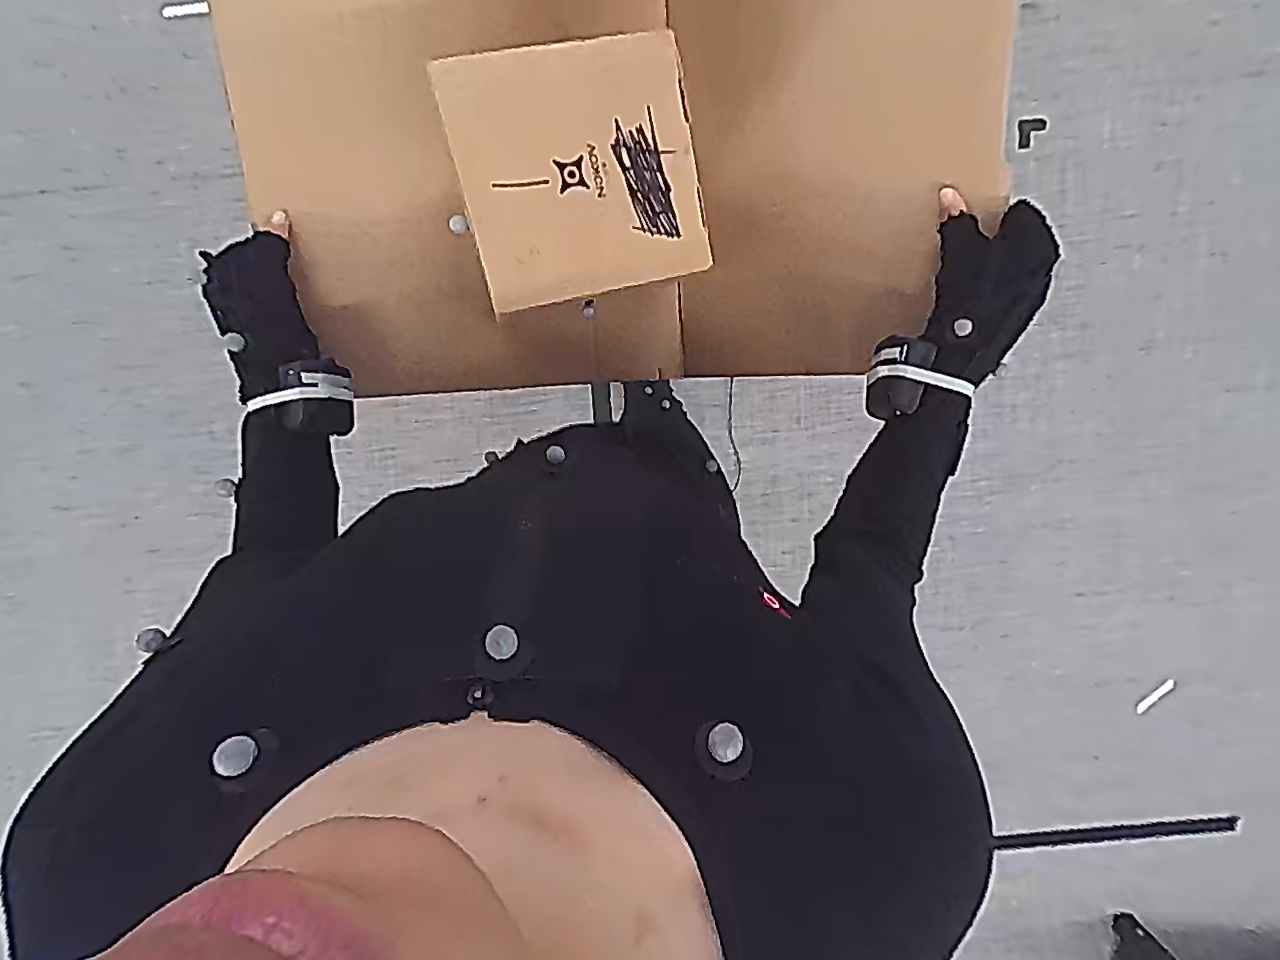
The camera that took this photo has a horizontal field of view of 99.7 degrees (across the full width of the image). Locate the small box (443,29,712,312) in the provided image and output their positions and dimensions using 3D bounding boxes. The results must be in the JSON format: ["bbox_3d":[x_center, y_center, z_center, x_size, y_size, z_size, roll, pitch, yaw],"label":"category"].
[{"bbox_3d":[-0.057,-0.252,0.478,0.179,0.176,0.168,-15,106,-10],"label":"small box"}]
